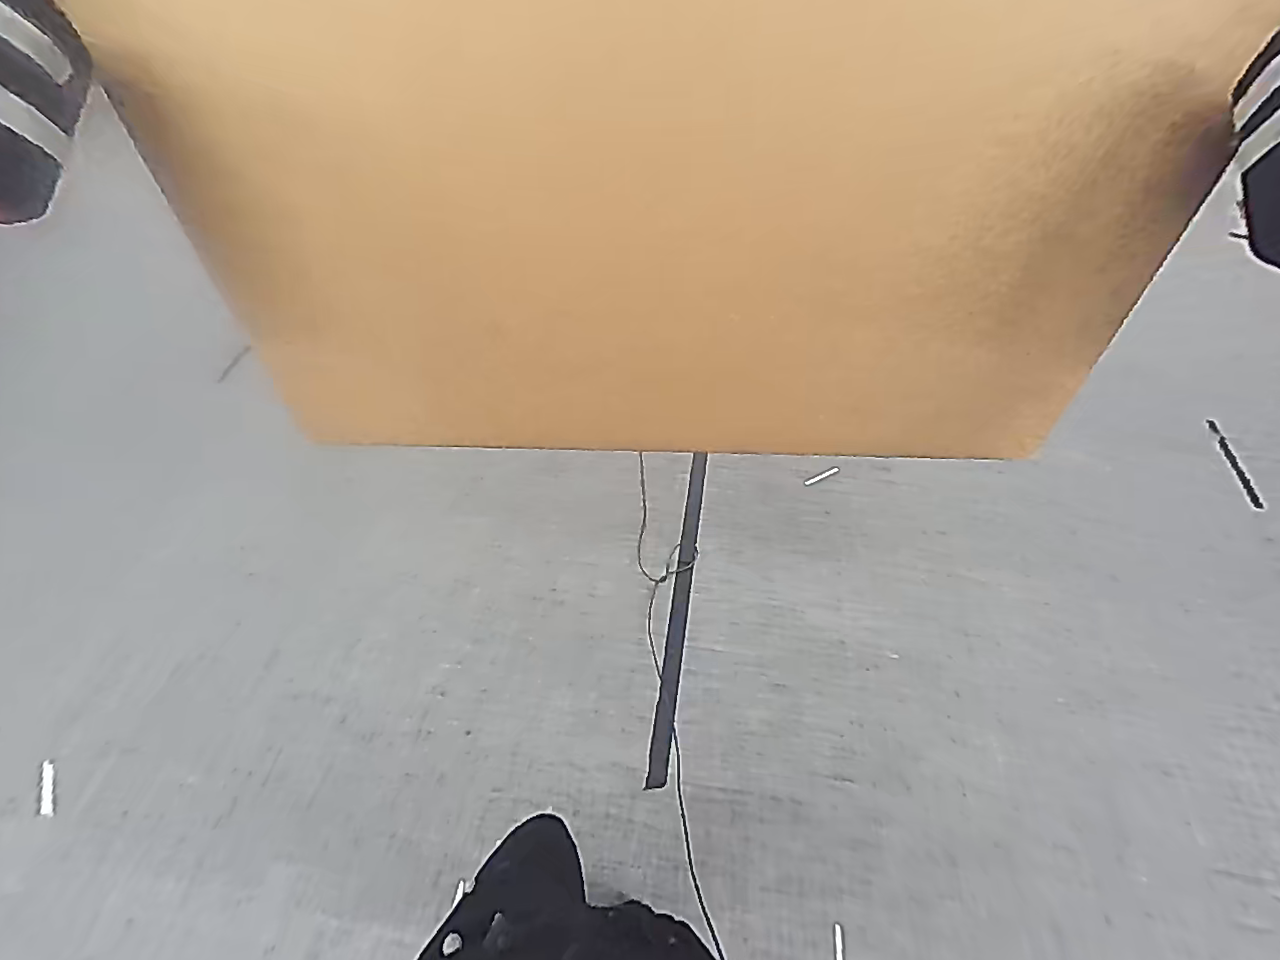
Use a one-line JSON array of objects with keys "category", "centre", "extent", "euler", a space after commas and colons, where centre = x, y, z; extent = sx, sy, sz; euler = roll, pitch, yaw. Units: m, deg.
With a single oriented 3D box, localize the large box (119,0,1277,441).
[{"category": "large box", "centre": [0.018, -0.234, 0.316], "extent": [0.408, 0.320, 0.320], "euler": [2, 44, 1]}]
